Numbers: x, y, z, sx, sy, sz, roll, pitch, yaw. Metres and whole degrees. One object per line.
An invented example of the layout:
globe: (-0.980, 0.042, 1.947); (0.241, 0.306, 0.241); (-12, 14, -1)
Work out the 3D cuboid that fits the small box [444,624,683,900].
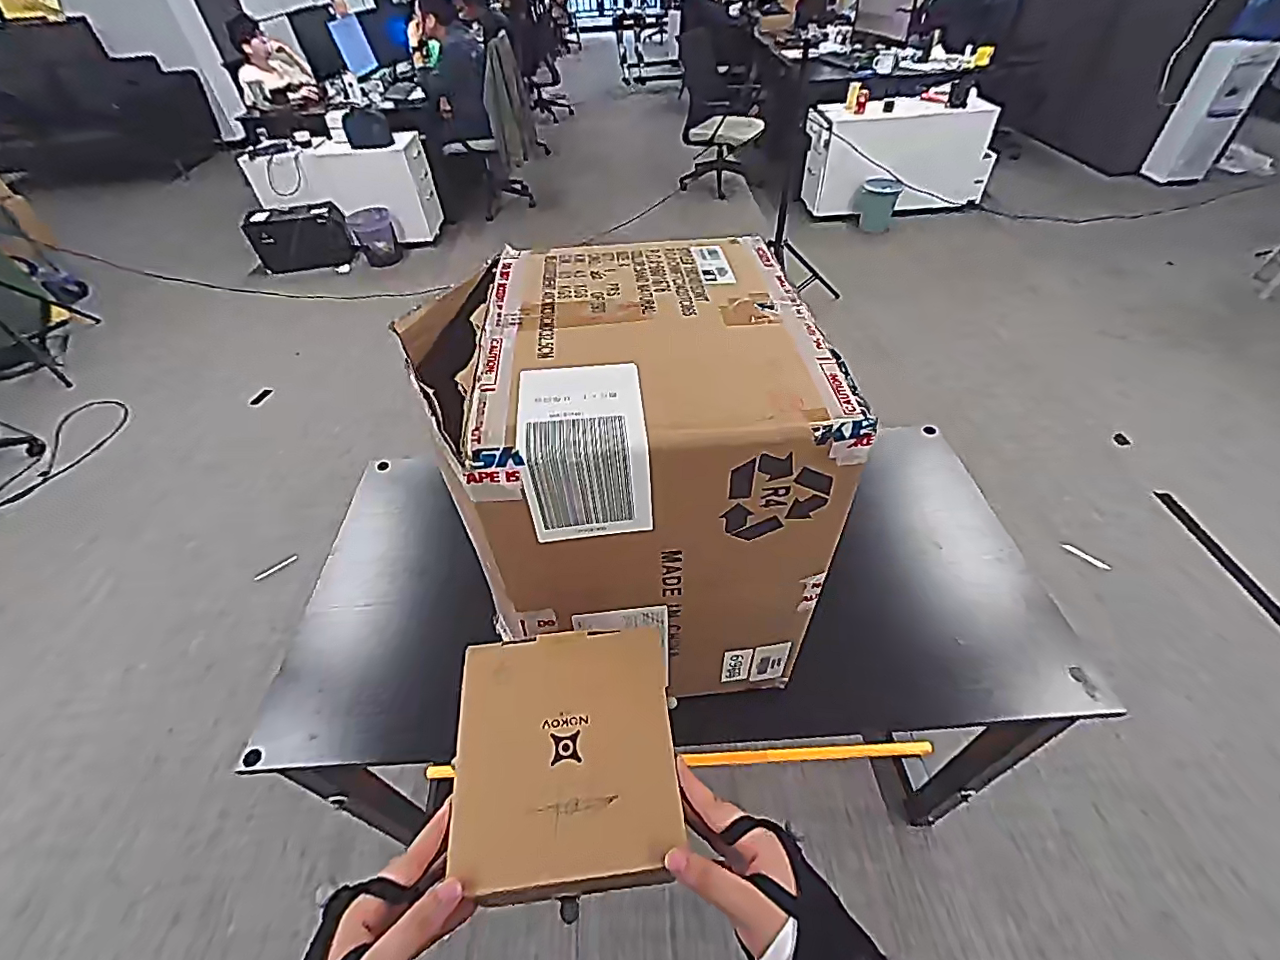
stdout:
small box: (-0.060, 0.251, 0.480); (0.168, 0.176, 0.179); (-5, 51, -4)
